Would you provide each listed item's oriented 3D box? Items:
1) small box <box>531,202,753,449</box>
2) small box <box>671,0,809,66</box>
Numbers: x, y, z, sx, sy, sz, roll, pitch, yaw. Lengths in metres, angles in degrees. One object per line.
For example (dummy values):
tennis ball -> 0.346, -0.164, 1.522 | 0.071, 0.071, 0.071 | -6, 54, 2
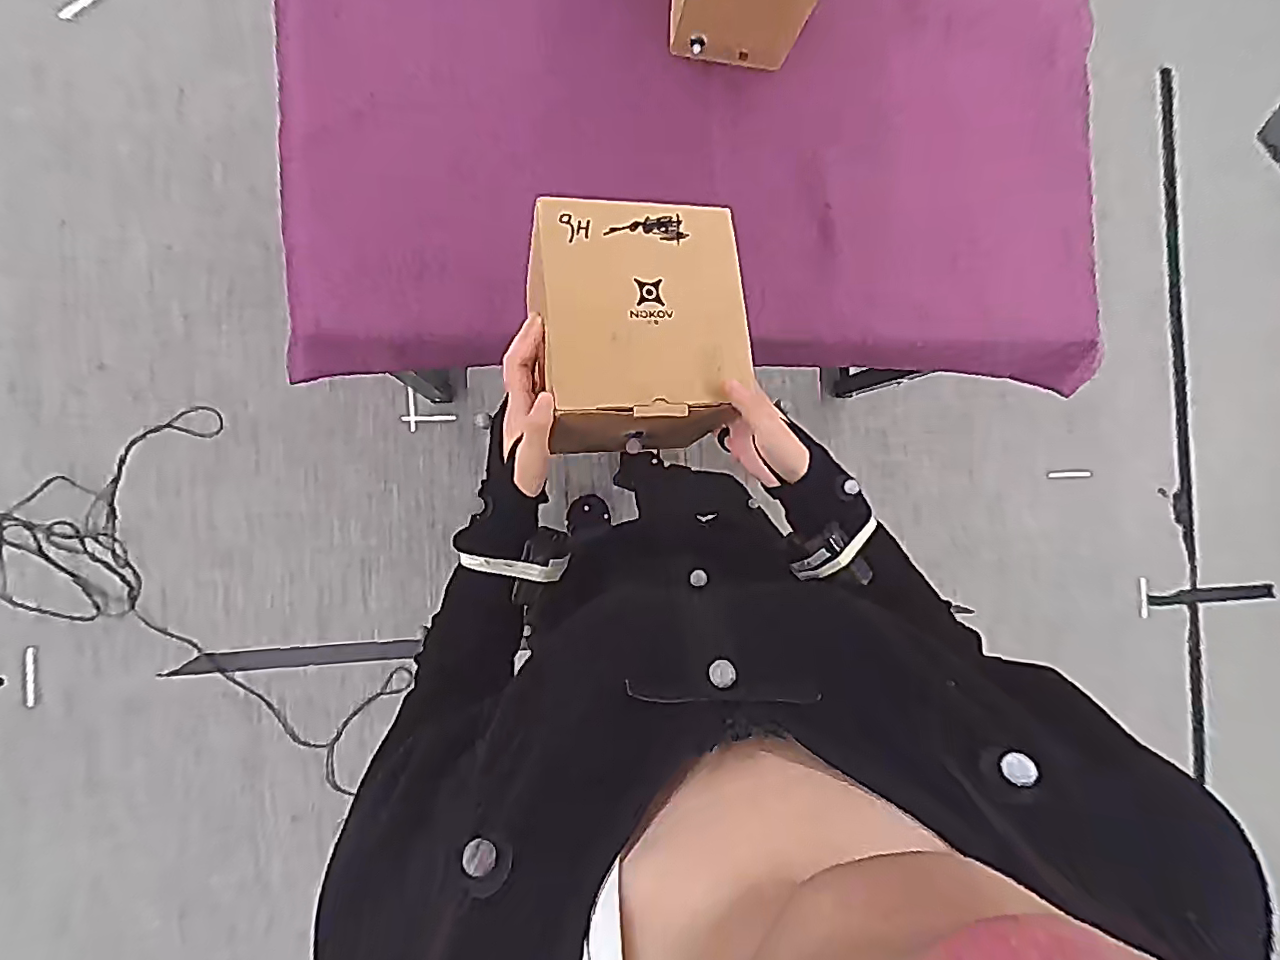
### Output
small box -> -0.012, -0.128, 0.509 | 0.168, 0.176, 0.179 | -4, 83, -14
small box -> 0.139, -0.698, 0.714 | 0.168, 0.176, 0.179 | 2, 90, -10
